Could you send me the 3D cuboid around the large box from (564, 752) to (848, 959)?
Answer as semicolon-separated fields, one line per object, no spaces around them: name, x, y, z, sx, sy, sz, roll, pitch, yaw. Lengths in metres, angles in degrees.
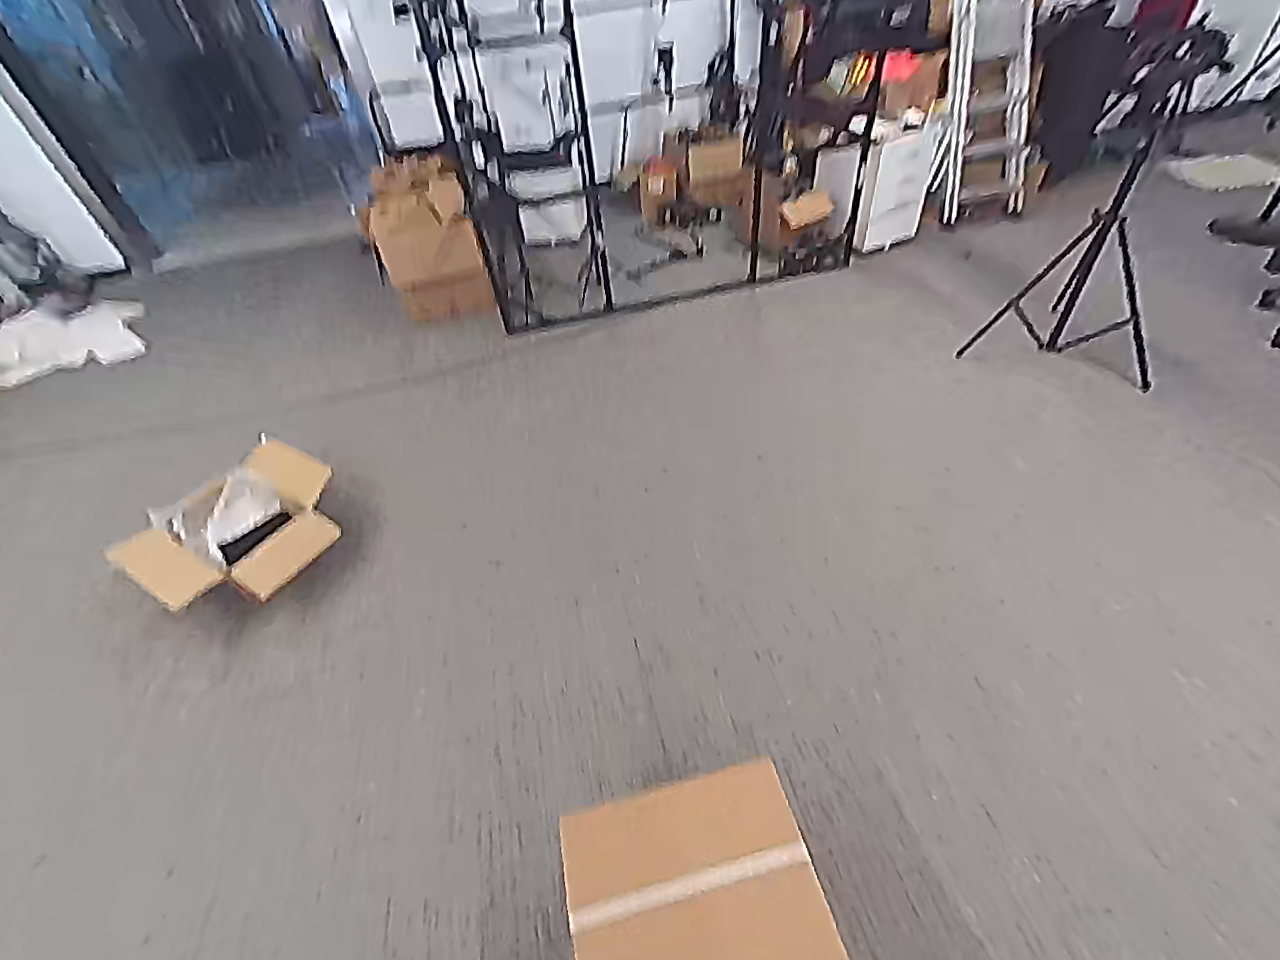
large box;0.101;0.764;0.990;0.408;0.320;0.320;-13;45;-5
